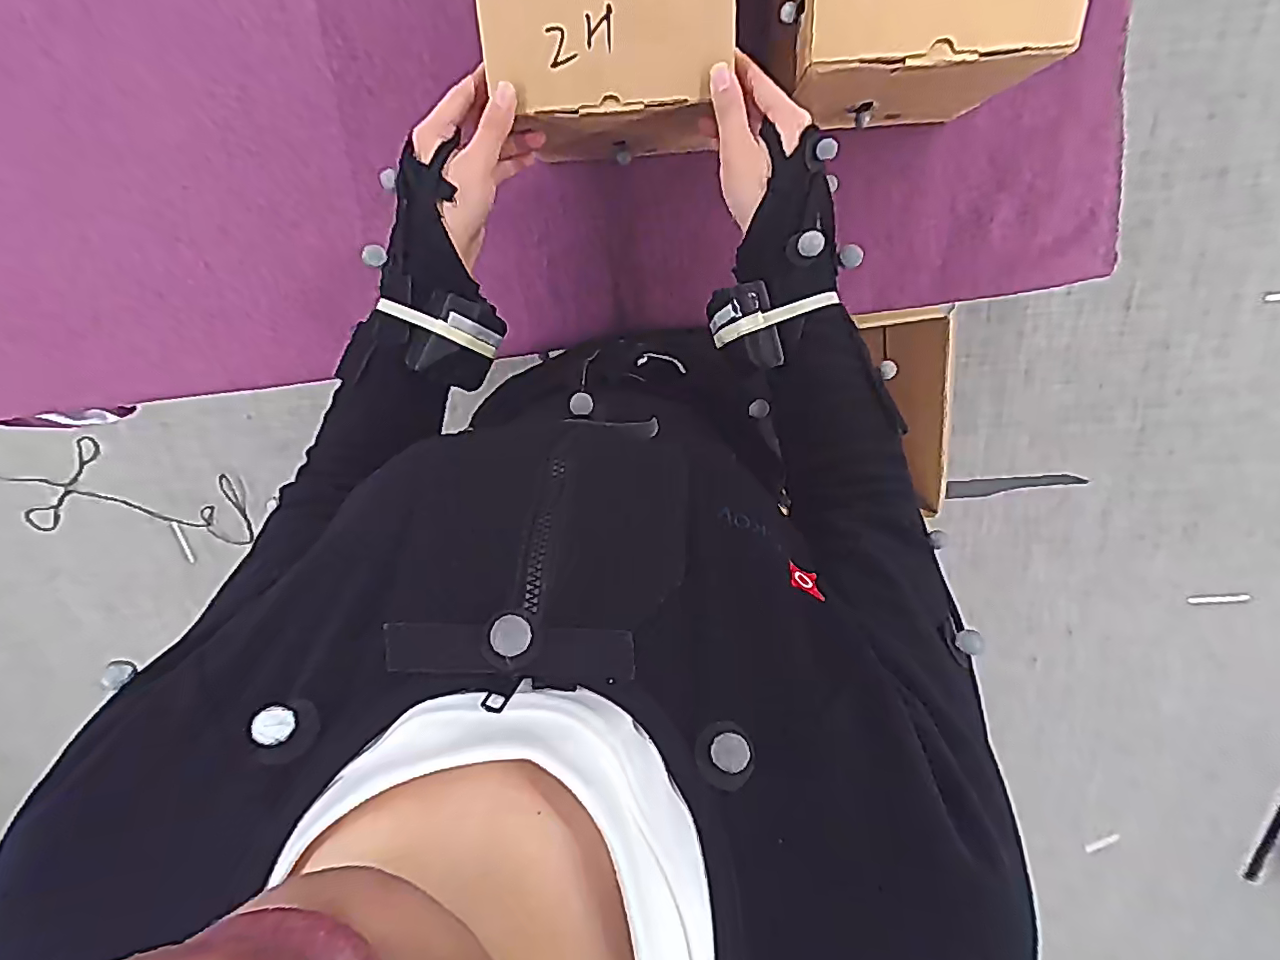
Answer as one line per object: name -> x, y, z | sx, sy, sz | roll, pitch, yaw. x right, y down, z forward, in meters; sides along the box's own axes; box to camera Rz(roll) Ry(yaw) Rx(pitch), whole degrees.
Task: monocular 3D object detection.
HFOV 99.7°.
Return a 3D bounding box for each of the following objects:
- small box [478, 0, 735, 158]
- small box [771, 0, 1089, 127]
small box -> -0.019, -0.359, 0.403 | 0.168, 0.176, 0.179 | -1, 112, 4
small box -> 0.190, -0.376, 0.382 | 0.168, 0.176, 0.179 | -1, 111, 5
